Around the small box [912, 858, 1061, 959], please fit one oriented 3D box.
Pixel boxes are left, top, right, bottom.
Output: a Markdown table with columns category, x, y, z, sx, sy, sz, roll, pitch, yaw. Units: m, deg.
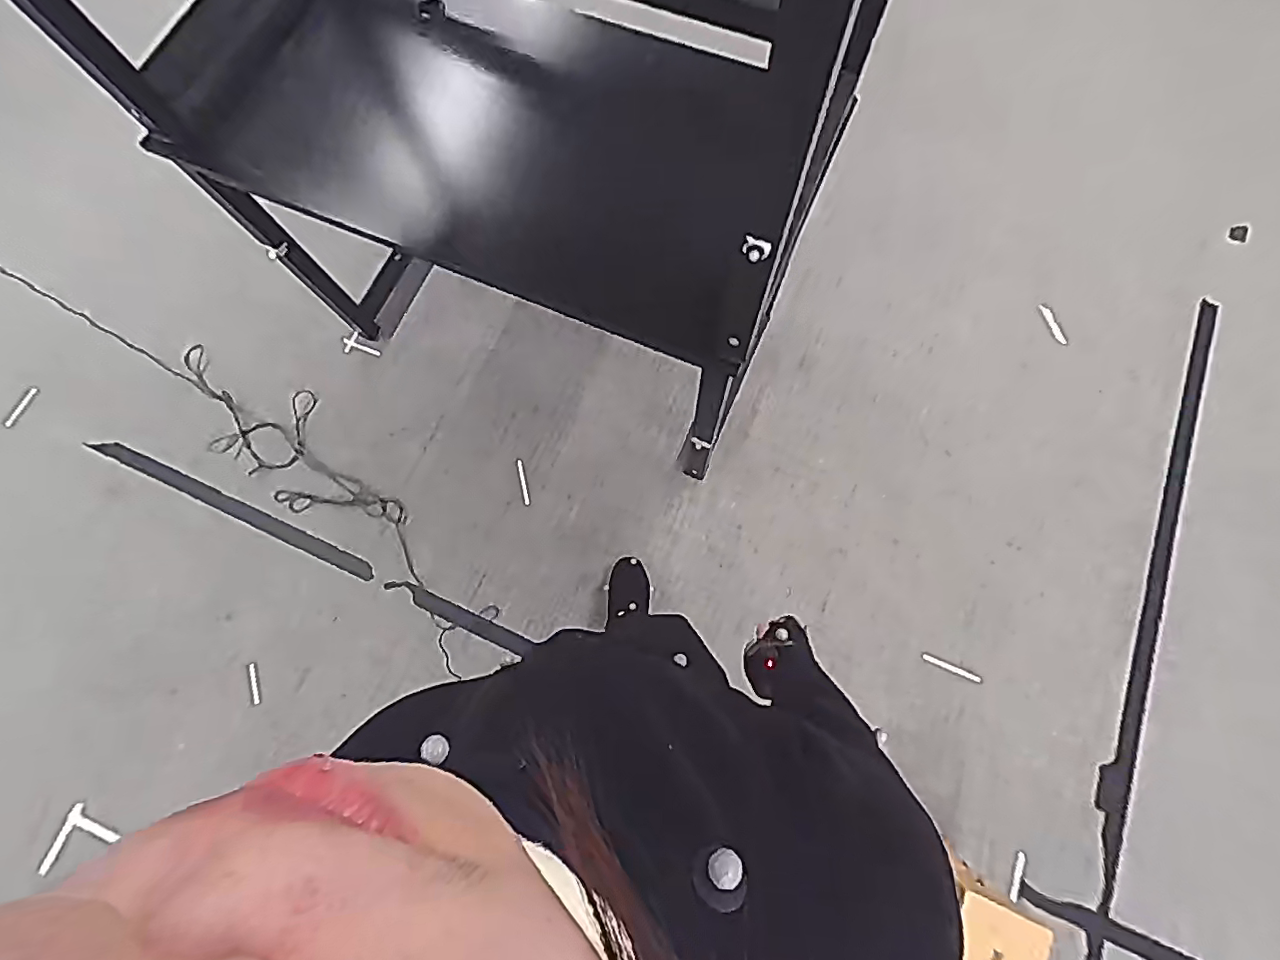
| category | x | y | z | sx | sy | sz | roll | pitch | yaw |
| --- | --- | --- | --- | --- | --- | --- | --- | --- | --- |
| small box | 0.662 | 0.893 | 1.055 | 0.168 | 0.176 | 0.179 | 24 | 77 | 8 |

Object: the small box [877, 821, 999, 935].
| category | x | y | z | sx | sy | sz | roll | pitch | yaw |
| --- | --- | --- | --- | --- | --- | --- | --- | --- | --- |
| small box | 0.662 | 0.920 | 1.217 | 0.168 | 0.176 | 0.179 | 28 | 79 | 9 |
